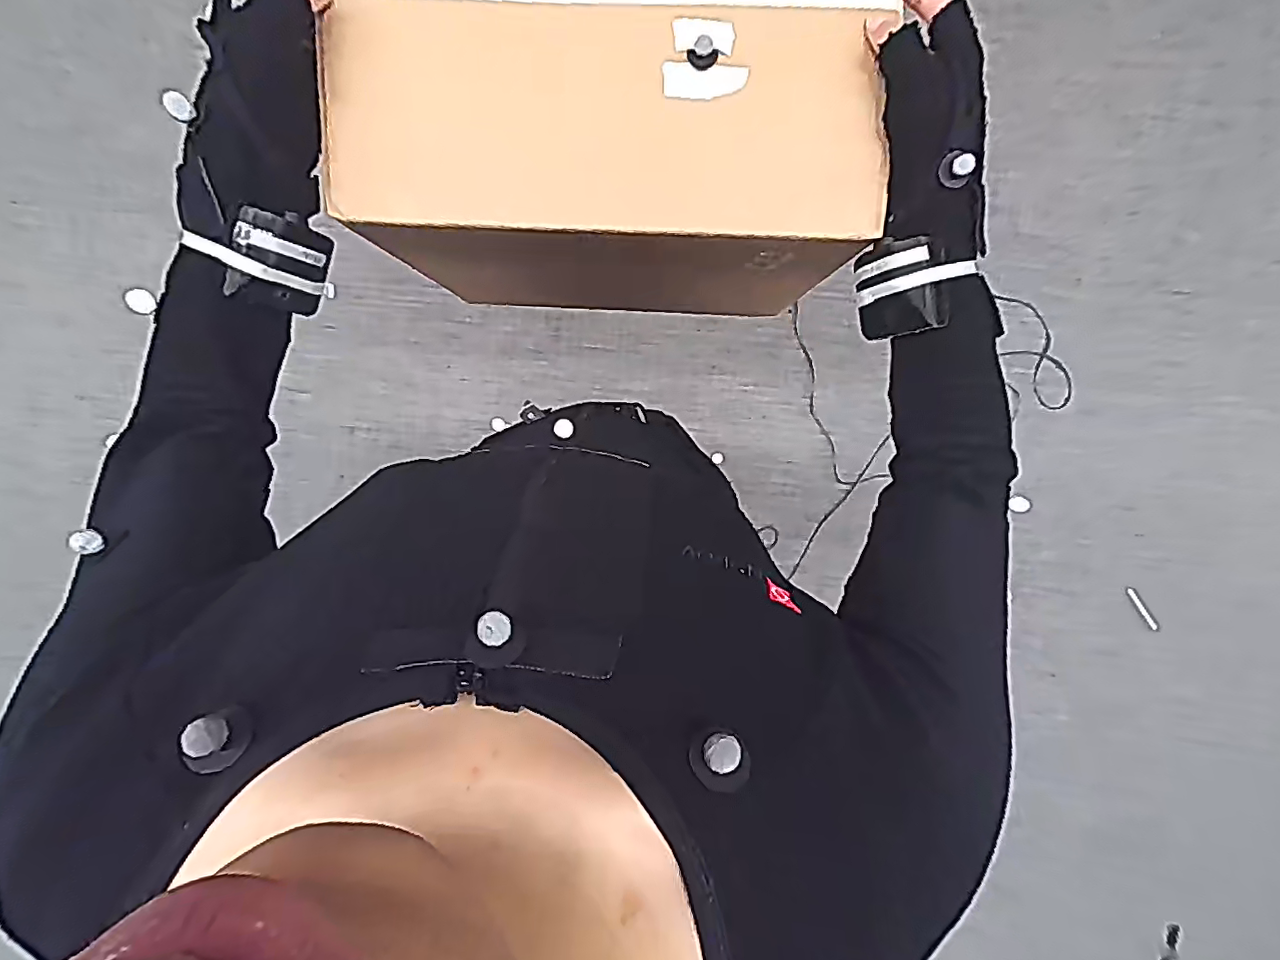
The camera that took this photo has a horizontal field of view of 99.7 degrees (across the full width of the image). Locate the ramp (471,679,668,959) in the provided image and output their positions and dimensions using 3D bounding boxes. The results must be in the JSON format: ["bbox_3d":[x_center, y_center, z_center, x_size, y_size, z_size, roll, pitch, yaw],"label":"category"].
[{"bbox_3d":[-0.201,1.076,1.494,0.509,0.206,0.991,3,95,2],"label":"ramp"}]

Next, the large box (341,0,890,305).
[{"bbox_3d":[-0.019,-0.364,0.537,0.408,0.320,0.320,2,97,-1],"label":"large box"}]
